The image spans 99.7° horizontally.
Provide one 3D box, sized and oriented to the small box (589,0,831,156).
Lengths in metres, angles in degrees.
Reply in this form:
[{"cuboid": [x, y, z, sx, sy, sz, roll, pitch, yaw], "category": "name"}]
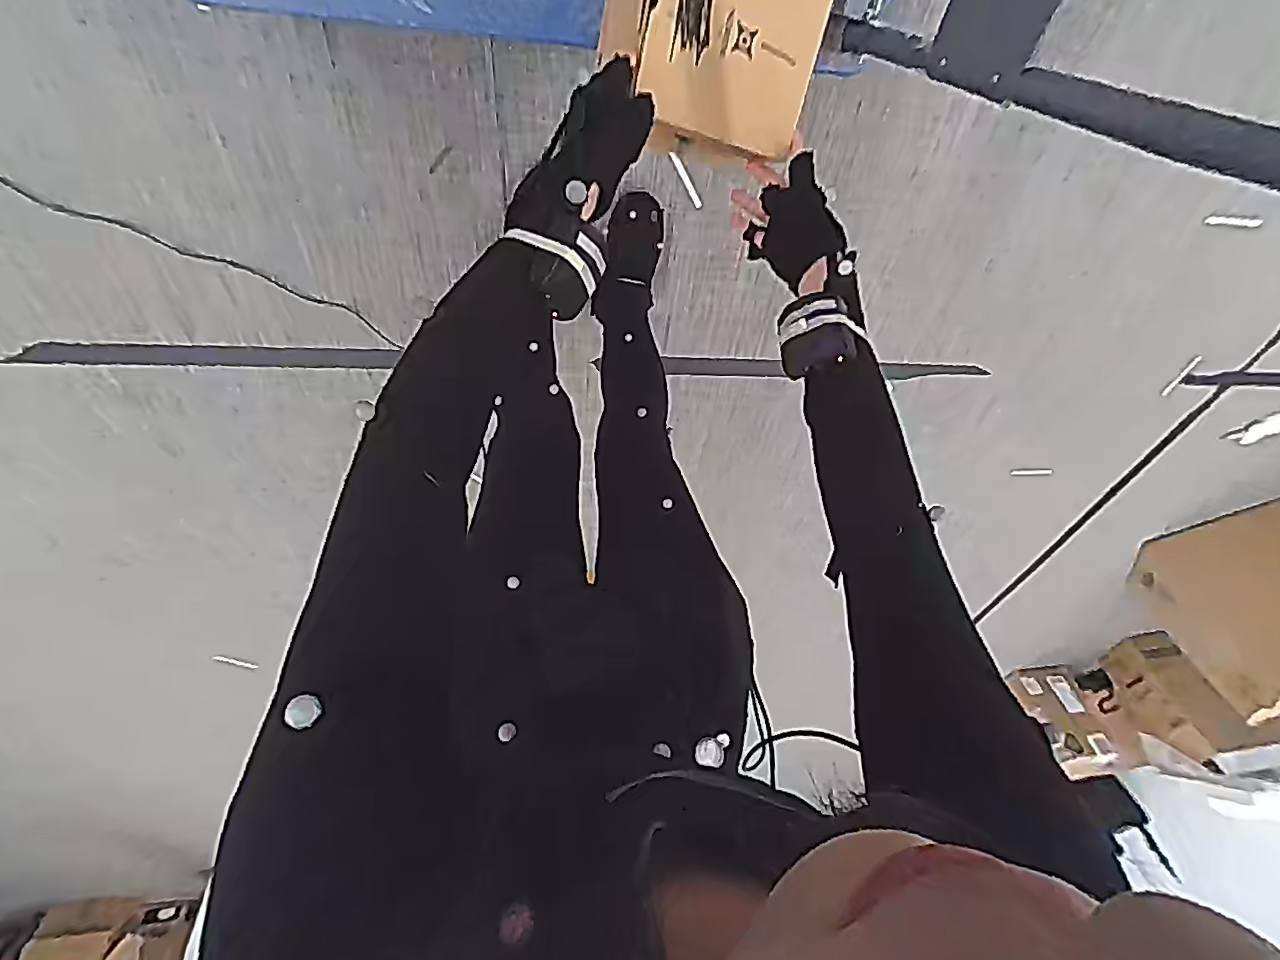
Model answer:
[{"cuboid": [0.060, -0.444, 0.550, 0.179, 0.176, 0.168, 4, 117, -24], "category": "small box"}]
